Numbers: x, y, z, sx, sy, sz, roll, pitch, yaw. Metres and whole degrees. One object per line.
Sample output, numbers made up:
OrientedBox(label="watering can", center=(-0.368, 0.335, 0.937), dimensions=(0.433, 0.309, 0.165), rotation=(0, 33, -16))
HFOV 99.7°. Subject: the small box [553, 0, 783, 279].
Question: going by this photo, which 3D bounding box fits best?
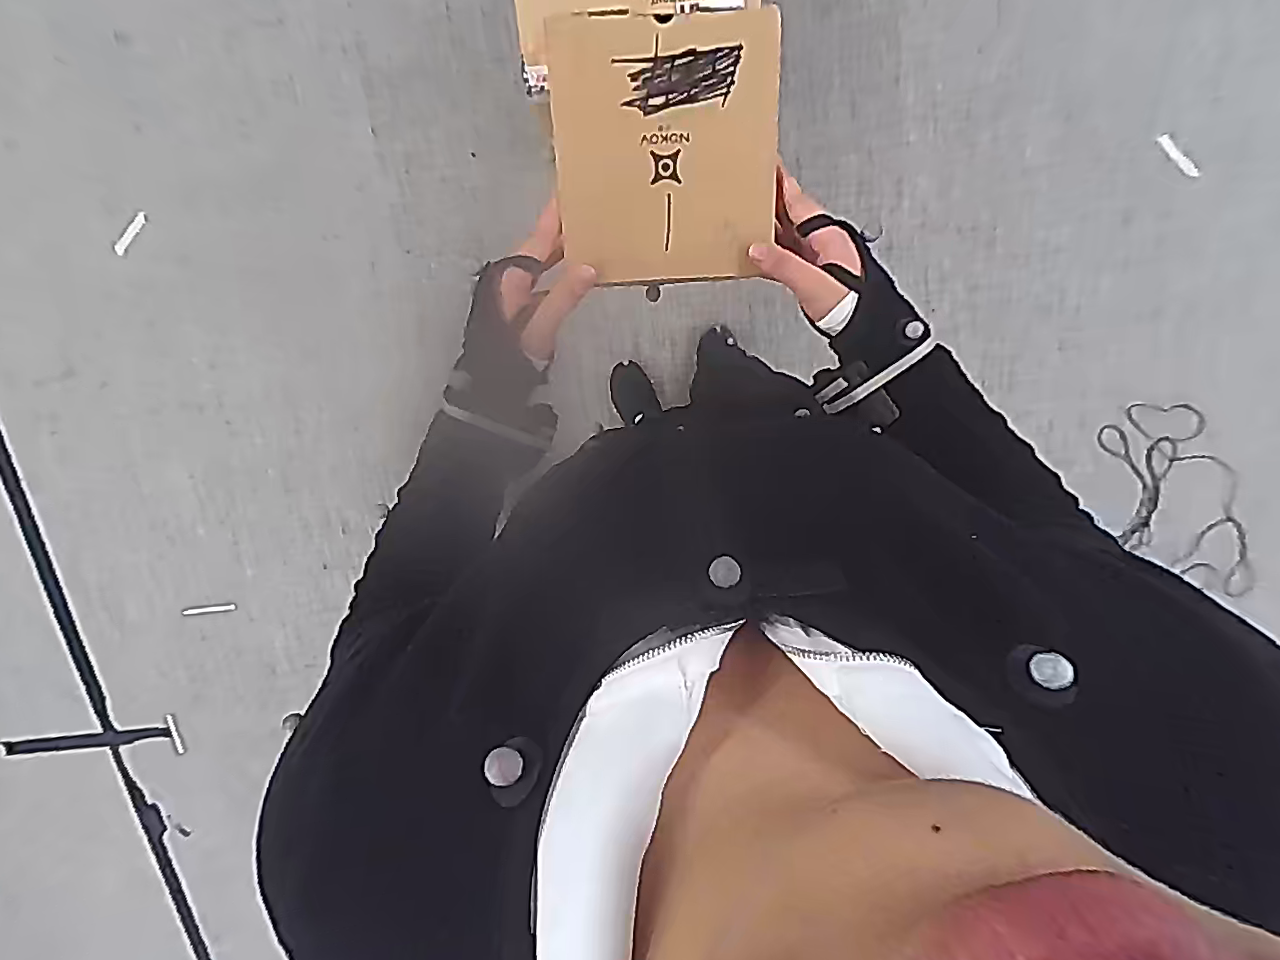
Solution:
OrientedBox(label="small box", center=(0.018, -0.276, 0.476), dimensions=(0.168, 0.176, 0.179), rotation=(-3, 109, -2))
